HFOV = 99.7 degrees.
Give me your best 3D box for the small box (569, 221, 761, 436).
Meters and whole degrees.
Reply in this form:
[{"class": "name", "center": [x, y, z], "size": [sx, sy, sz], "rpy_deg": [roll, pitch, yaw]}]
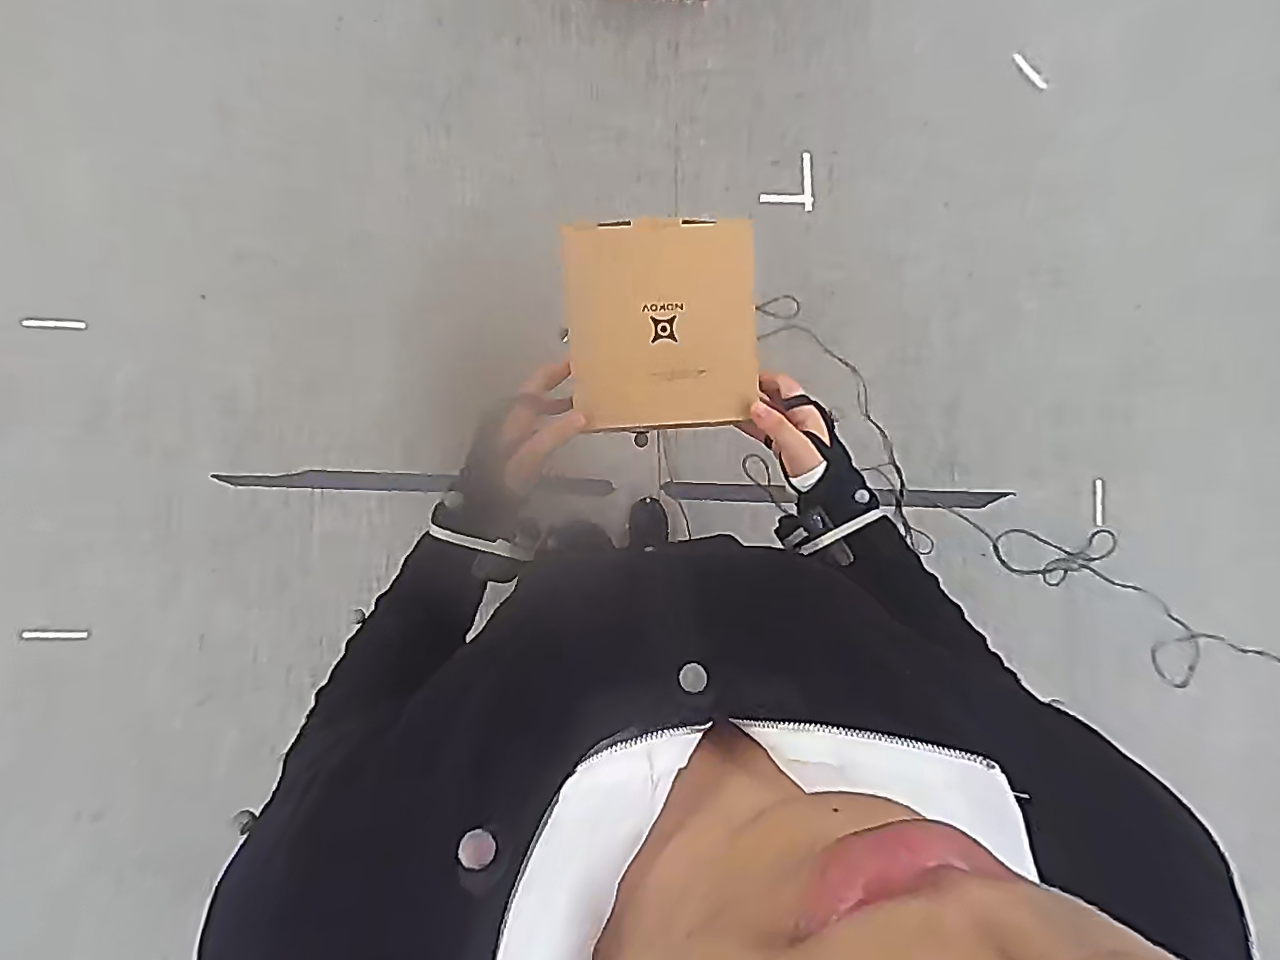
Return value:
[{"class": "small box", "center": [0.014, -0.138, 0.547], "size": [0.168, 0.176, 0.179], "rpy_deg": [-4, 94, -6]}]
